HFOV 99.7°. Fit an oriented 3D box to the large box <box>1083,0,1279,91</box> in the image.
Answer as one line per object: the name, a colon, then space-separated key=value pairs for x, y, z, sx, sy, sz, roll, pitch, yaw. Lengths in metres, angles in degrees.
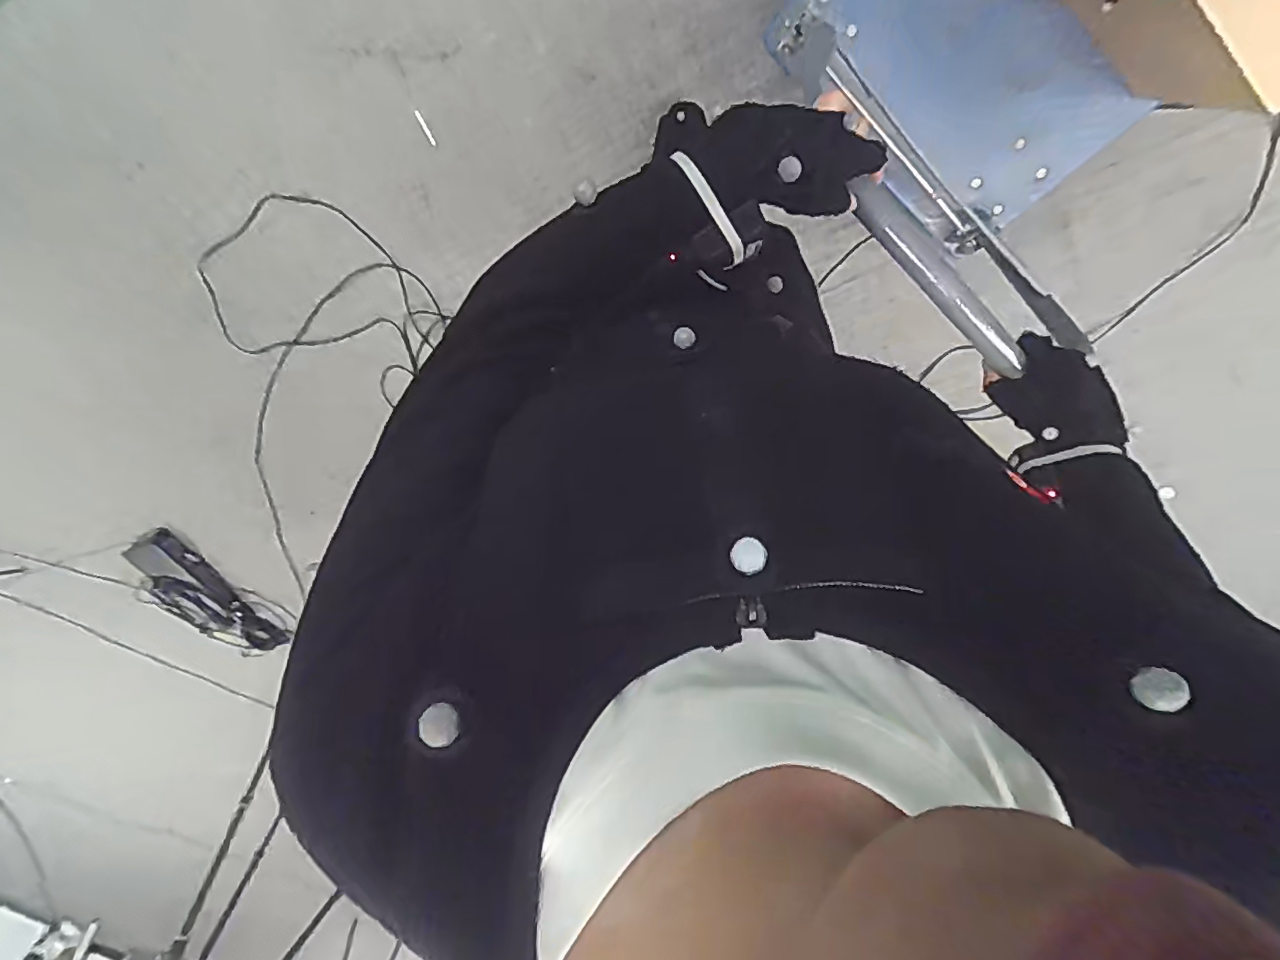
large box: x=0.728 y=-0.759 z=0.639 sx=0.408 sy=0.320 sz=0.320 roll=34 pitch=128 yaw=-15
